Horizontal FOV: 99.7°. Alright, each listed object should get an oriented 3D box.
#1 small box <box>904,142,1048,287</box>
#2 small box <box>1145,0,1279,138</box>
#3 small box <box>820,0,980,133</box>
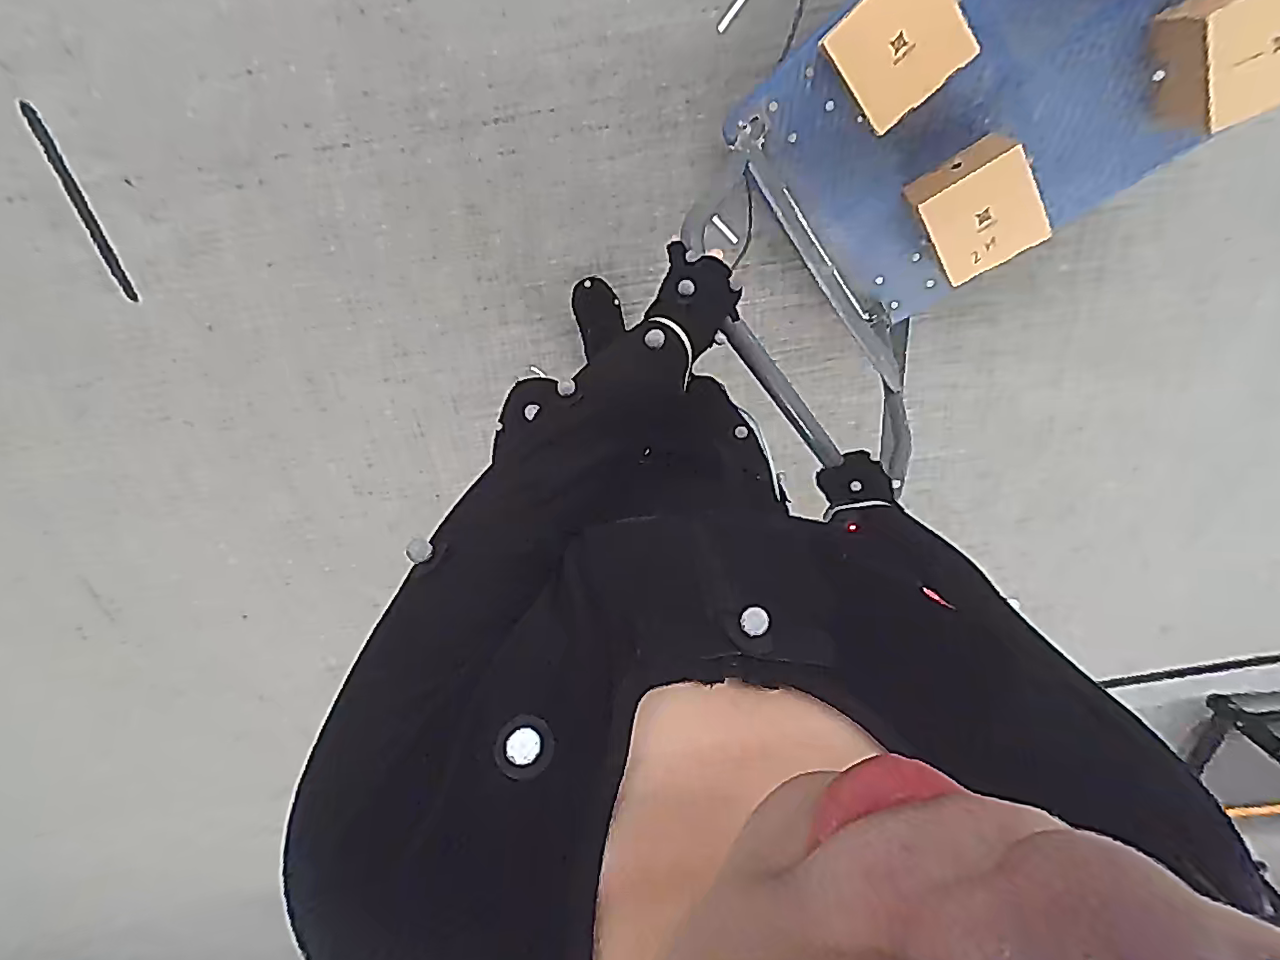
[{"bbox_3d":[0.617,-0.501,1.012,0.168,0.176,0.179,-25,117,30],"label":"small box"},{"bbox_3d":[0.917,-0.656,0.815,0.179,0.176,0.168,-18,120,27],"label":"small box"},{"bbox_3d":[0.417,-0.719,0.896,0.168,0.176,0.179,-32,115,32],"label":"small box"}]
